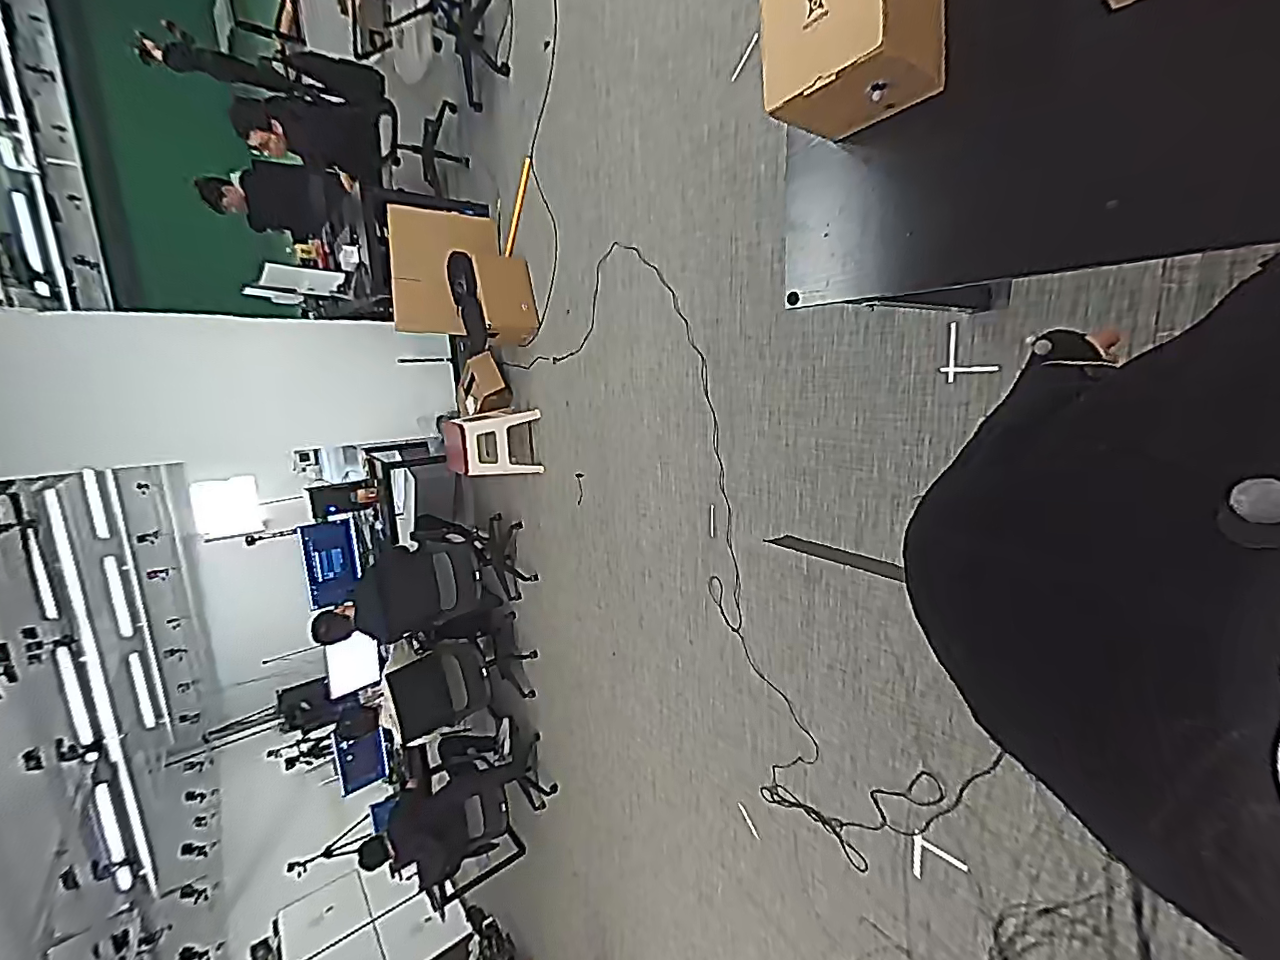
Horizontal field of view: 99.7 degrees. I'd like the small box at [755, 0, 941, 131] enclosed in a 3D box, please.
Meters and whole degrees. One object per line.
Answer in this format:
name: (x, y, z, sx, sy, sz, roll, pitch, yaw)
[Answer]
small box: (0.269, -0.580, 0.696, 0.168, 0.176, 0.179, 5, 102, 50)
